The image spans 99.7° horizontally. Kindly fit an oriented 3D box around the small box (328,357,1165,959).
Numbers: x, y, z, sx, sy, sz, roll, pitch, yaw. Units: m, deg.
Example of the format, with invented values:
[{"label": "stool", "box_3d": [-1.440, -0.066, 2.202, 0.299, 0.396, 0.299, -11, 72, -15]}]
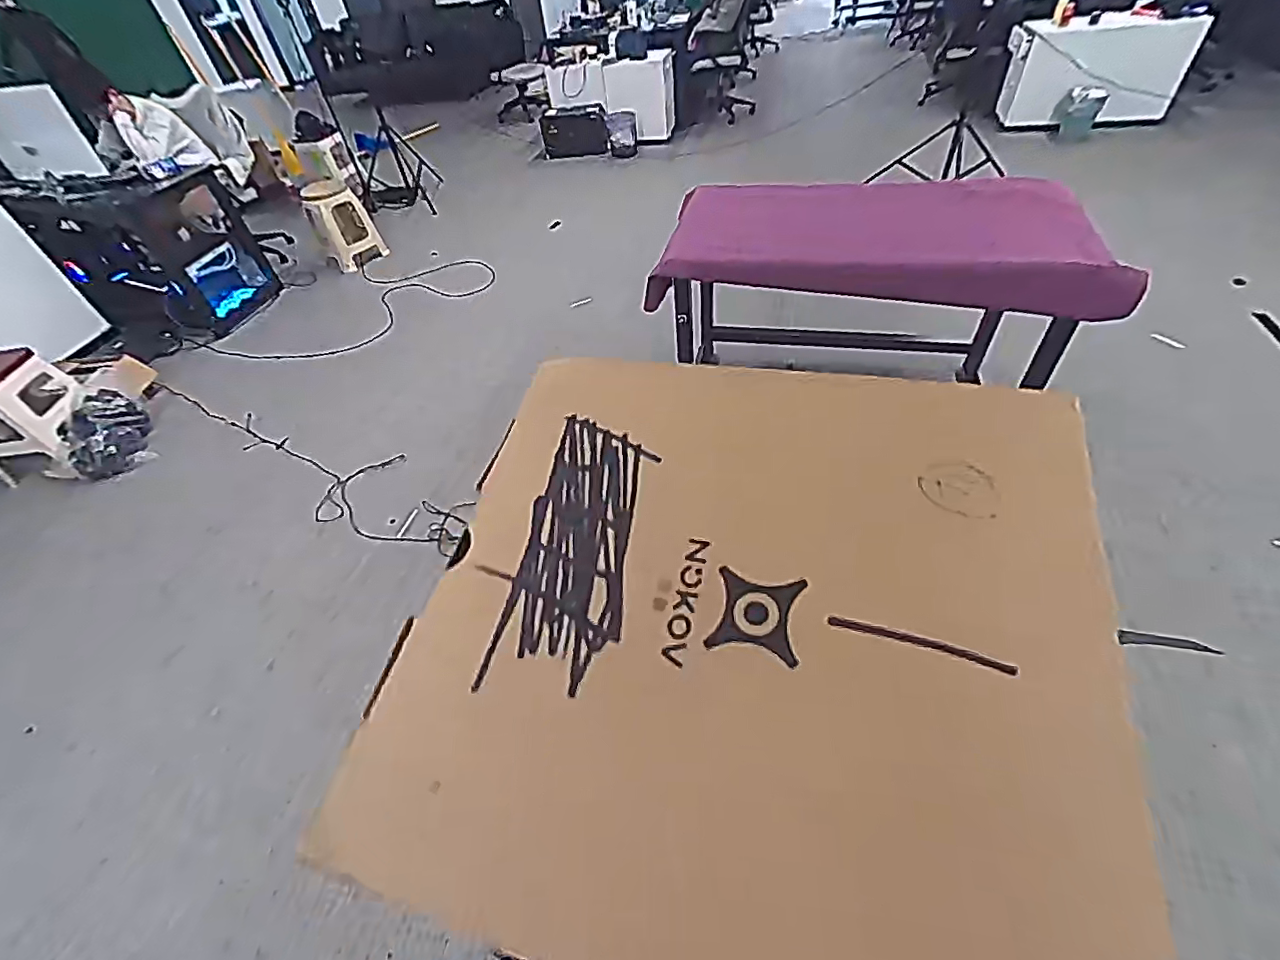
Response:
[{"label": "small box", "box_3d": [0.040, 0.076, 0.211, 0.179, 0.176, 0.168, 10, 60, 17]}]
